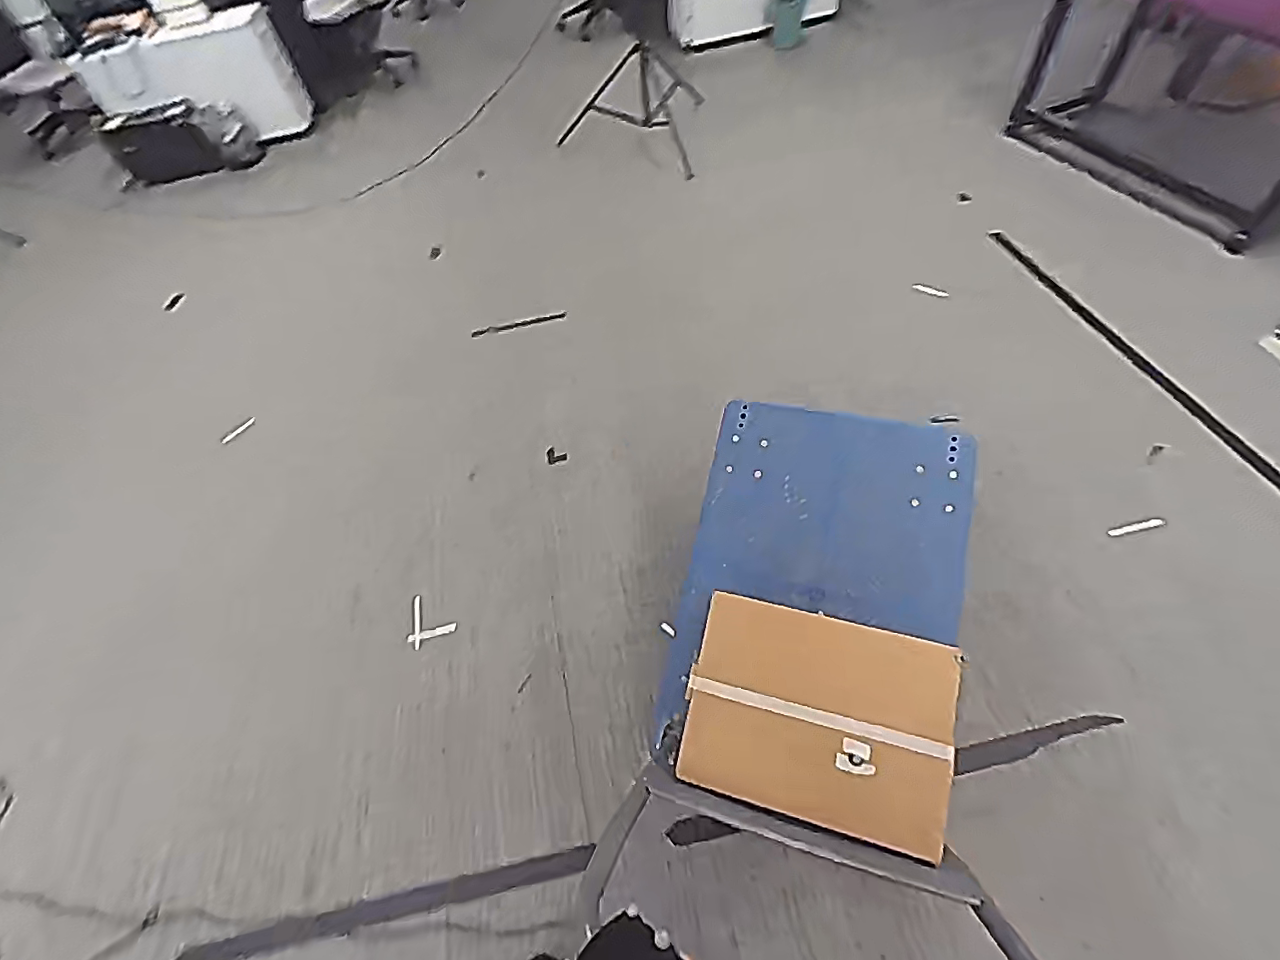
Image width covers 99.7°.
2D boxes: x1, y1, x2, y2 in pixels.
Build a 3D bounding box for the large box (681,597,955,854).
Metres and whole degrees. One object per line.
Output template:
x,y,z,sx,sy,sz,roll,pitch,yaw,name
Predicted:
0.315,0.428,1.030,0.408,0.320,0.320,11,77,14,large box
